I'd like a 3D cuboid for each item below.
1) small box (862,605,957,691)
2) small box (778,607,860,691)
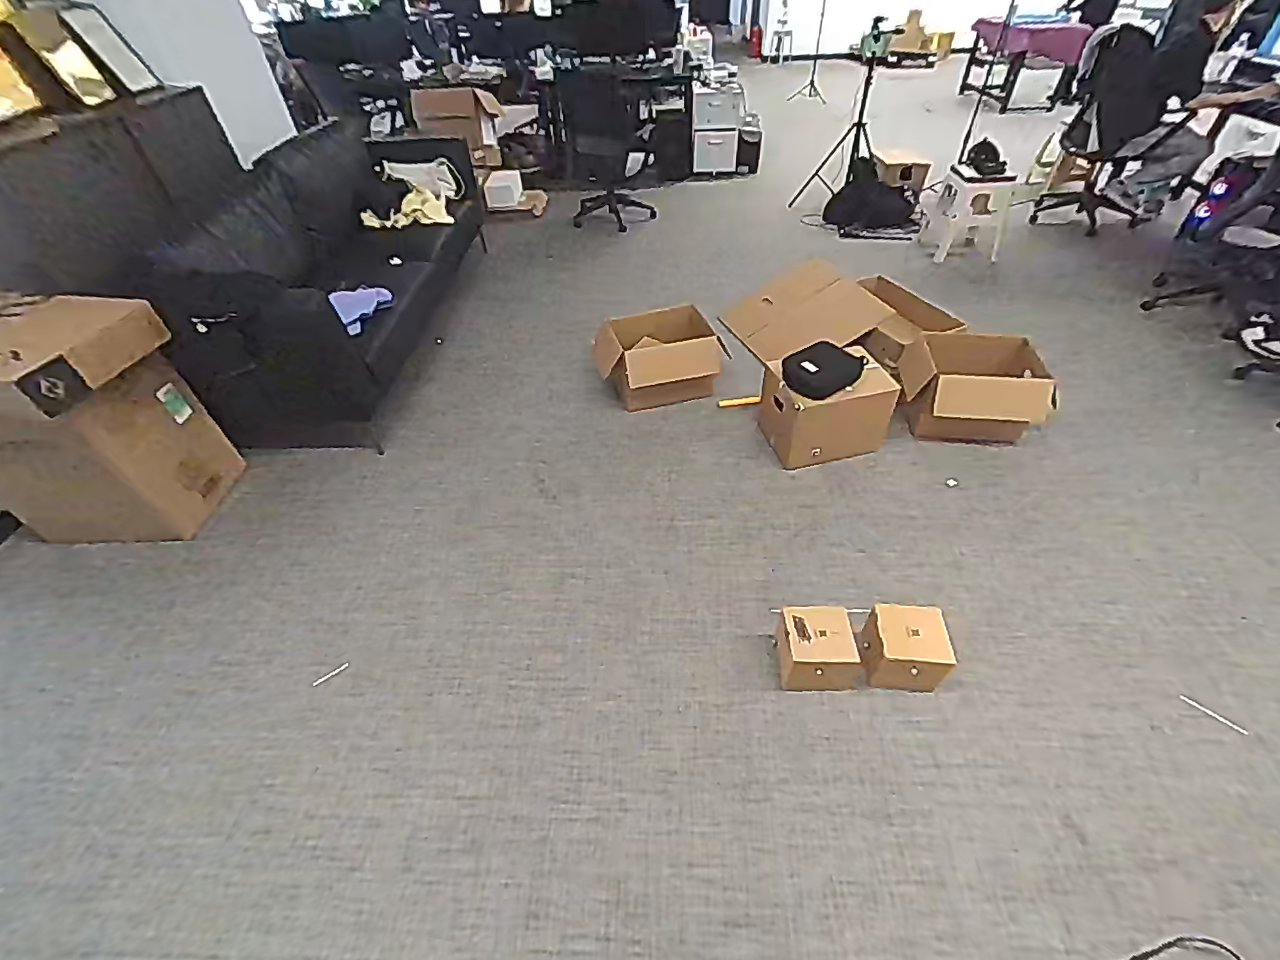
[{"bbox_3d":[0.729,0.463,1.482,0.179,0.176,0.168,2,45,8],"label":"small box"},{"bbox_3d":[0.484,0.468,1.493,0.179,0.176,0.168,0,45,3],"label":"small box"}]
